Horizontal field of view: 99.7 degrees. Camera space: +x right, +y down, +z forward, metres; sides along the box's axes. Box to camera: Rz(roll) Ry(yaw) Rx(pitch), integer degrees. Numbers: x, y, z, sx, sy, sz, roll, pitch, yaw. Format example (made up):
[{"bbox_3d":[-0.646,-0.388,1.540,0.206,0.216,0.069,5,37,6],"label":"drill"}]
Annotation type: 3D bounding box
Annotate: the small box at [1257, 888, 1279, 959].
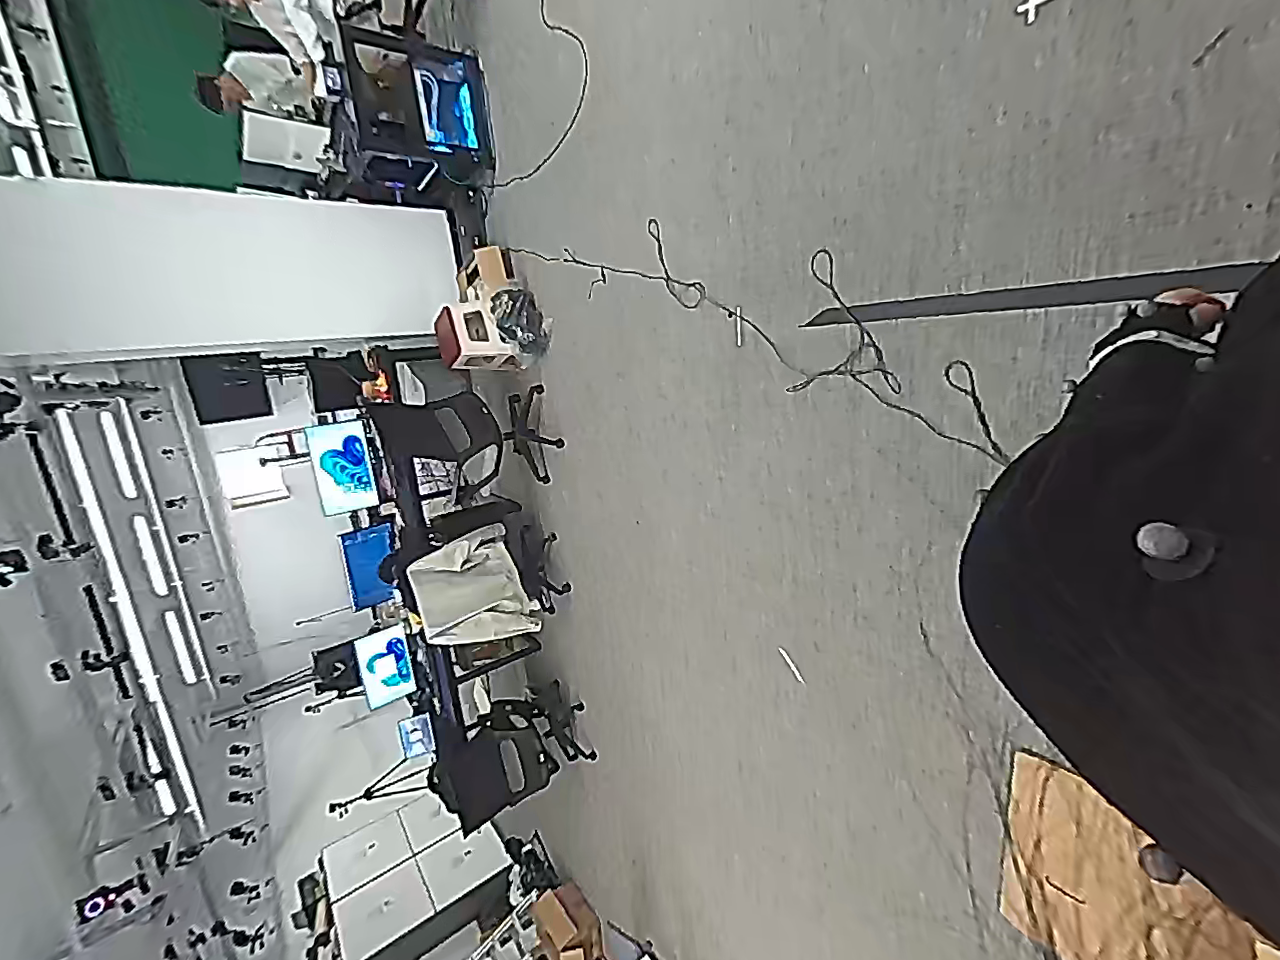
[{"bbox_3d":[1.312,0.943,1.032,0.168,0.176,0.179,-1,101,54],"label":"small box"}]
